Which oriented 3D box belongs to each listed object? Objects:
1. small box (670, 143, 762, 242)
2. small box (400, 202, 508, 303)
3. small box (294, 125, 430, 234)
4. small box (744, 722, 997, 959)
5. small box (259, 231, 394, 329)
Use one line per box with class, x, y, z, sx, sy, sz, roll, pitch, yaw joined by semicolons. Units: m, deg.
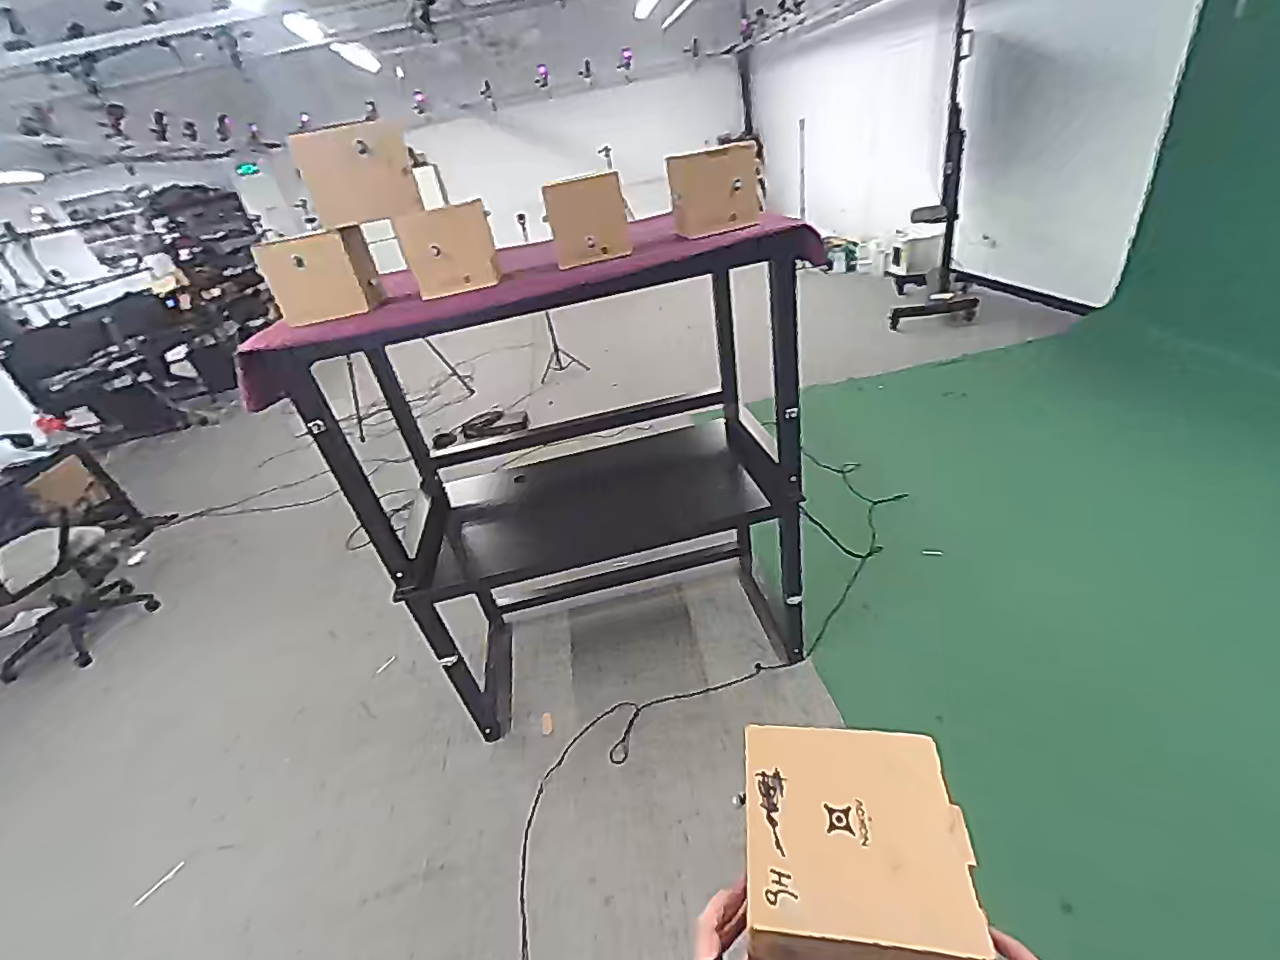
small box;0.174;-0.658;1.244;0.168;0.176;0.179;-13;30;-1
small box;-0.402;-0.504;1.202;0.168;0.176;0.179;-14;30;-1
small box;-0.561;-0.619;1.122;0.179;0.176;0.168;-12;30;-1
small box;0.188;0.355;0.503;0.179;0.176;0.168;0;35;11
small box;-0.678;-0.444;1.194;0.179;0.176;0.168;-12;31;-3
